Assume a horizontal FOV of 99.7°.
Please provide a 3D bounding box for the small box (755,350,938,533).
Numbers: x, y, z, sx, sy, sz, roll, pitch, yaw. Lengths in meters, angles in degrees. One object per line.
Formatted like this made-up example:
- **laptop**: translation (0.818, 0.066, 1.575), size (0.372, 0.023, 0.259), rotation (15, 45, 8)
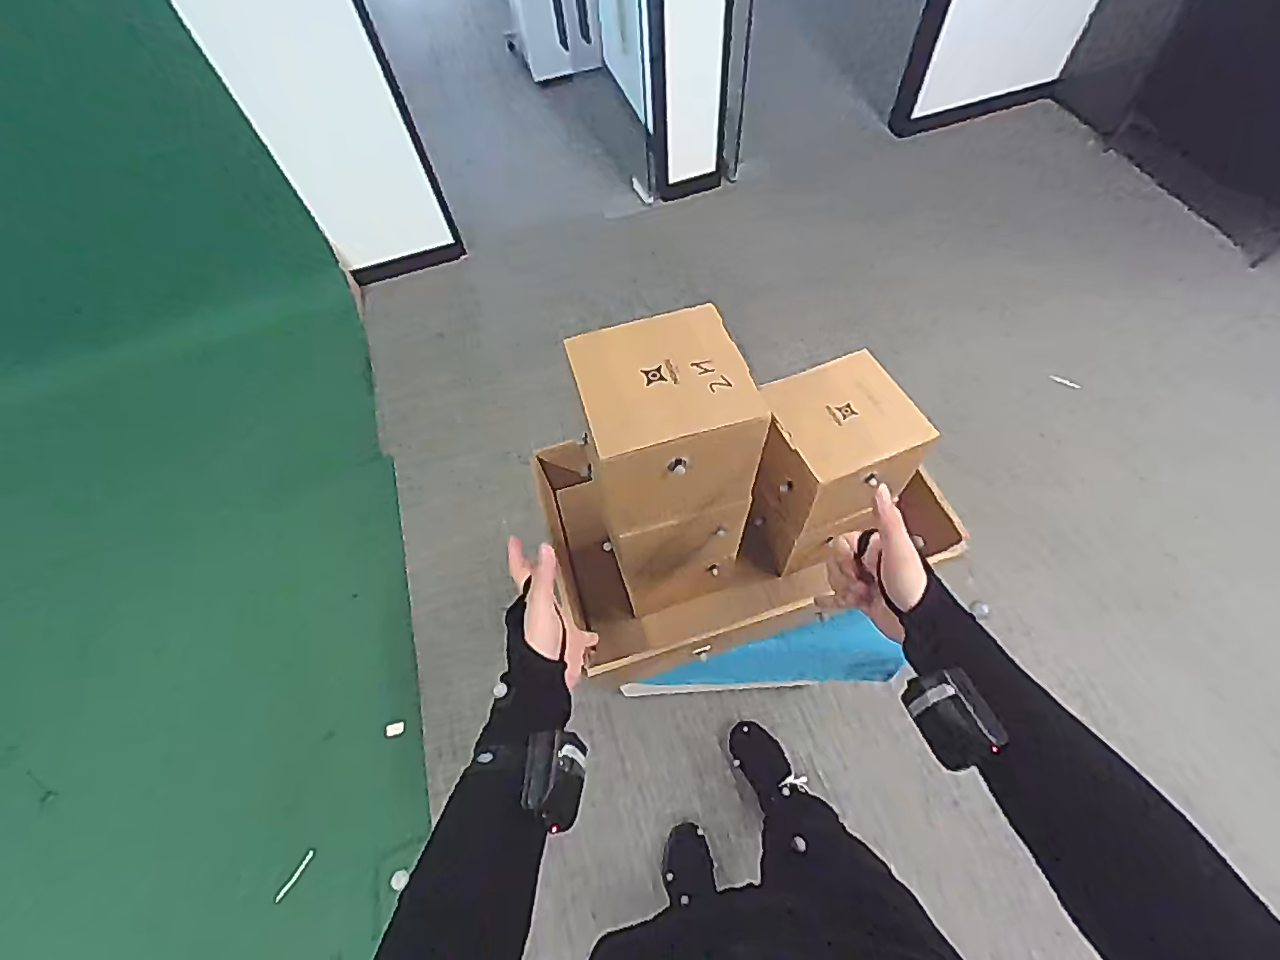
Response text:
- **small box**: translation (0.276, -0.047, 0.776), size (0.179, 0.176, 0.168), rotation (-21, 60, -6)

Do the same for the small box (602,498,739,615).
- **small box**: translation (0.050, 0.107, 0.905), size (0.179, 0.176, 0.168), rotation (-17, 60, -6)

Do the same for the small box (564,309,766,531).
- **small box**: translation (0.026, -0.061, 0.623), size (0.179, 0.176, 0.168), rotation (-15, 60, -5)
